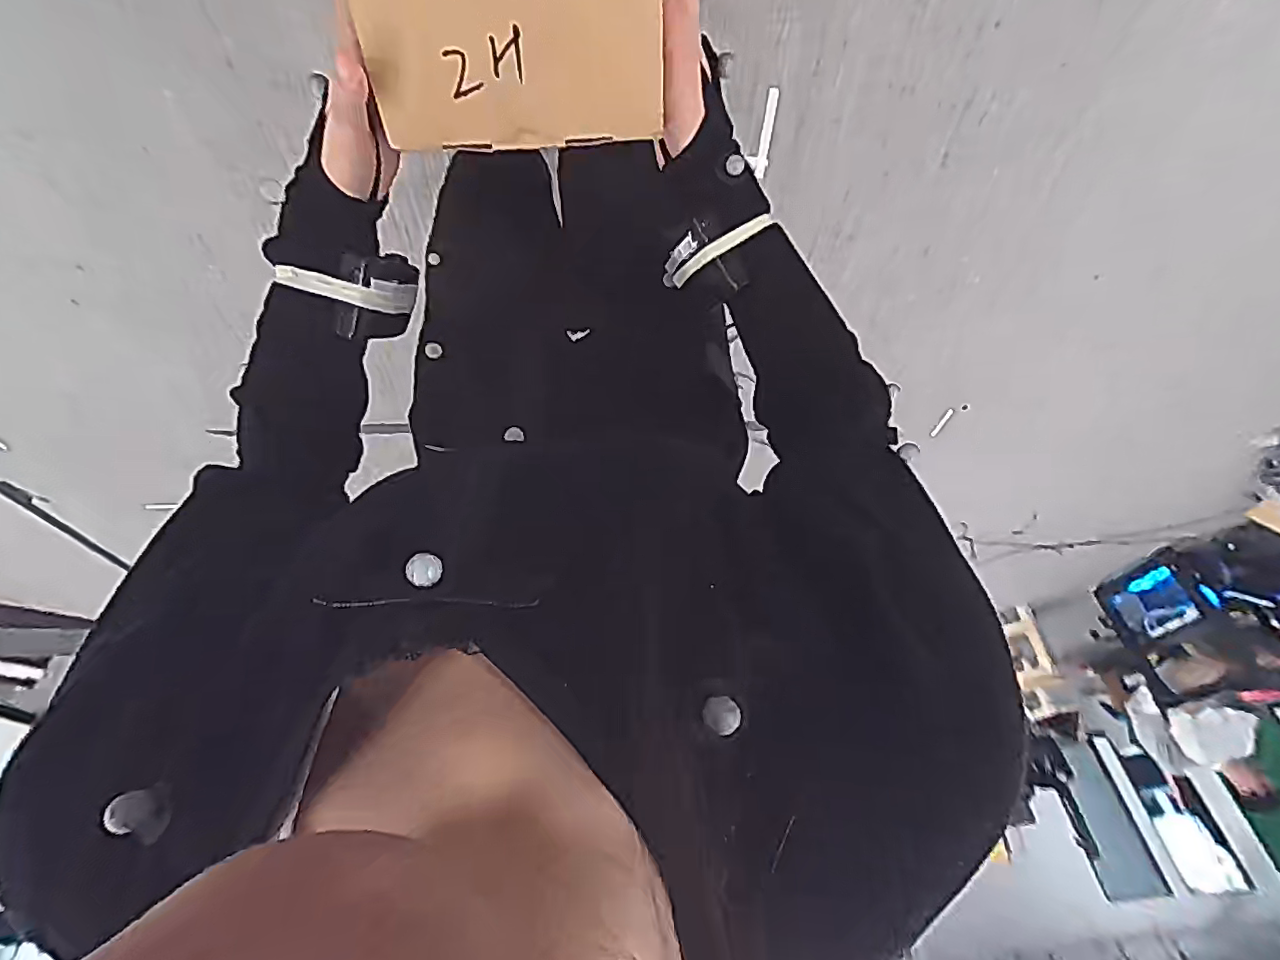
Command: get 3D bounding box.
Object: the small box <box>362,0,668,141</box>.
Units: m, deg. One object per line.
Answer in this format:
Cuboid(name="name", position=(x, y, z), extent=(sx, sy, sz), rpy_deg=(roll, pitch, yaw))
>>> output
Cuboid(name="small box", position=(-0.072, -0.326, 0.337), extent=(0.168, 0.176, 0.179), rpy_deg=(-4, 129, -1))
